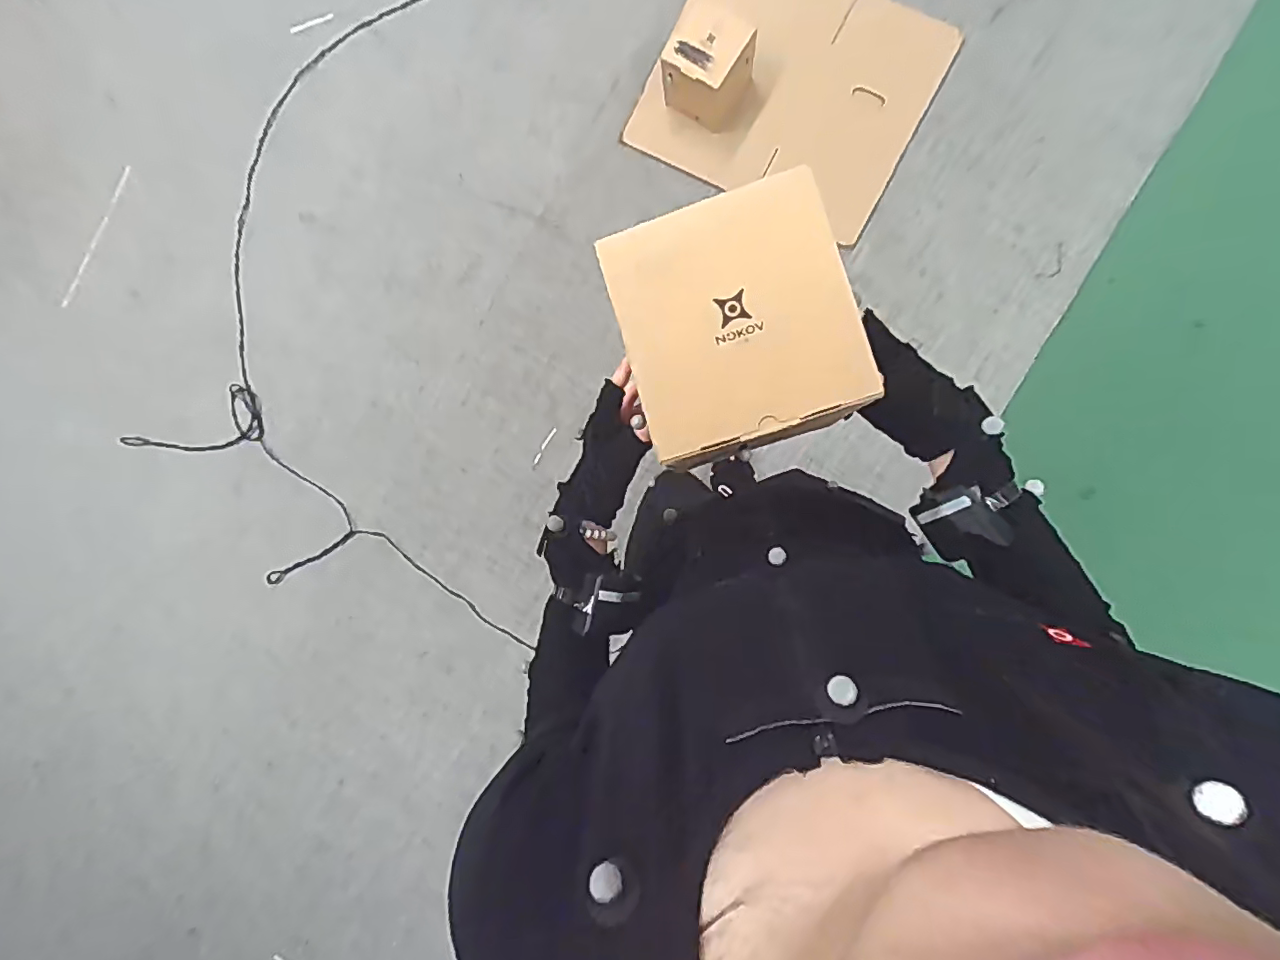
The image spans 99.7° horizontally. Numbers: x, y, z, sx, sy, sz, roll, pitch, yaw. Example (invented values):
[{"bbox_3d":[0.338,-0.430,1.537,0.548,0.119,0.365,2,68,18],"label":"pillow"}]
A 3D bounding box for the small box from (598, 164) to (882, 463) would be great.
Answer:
[{"bbox_3d":[0.077,-0.120,0.468,0.168,0.176,0.179,-18,88,7],"label":"small box"}]
